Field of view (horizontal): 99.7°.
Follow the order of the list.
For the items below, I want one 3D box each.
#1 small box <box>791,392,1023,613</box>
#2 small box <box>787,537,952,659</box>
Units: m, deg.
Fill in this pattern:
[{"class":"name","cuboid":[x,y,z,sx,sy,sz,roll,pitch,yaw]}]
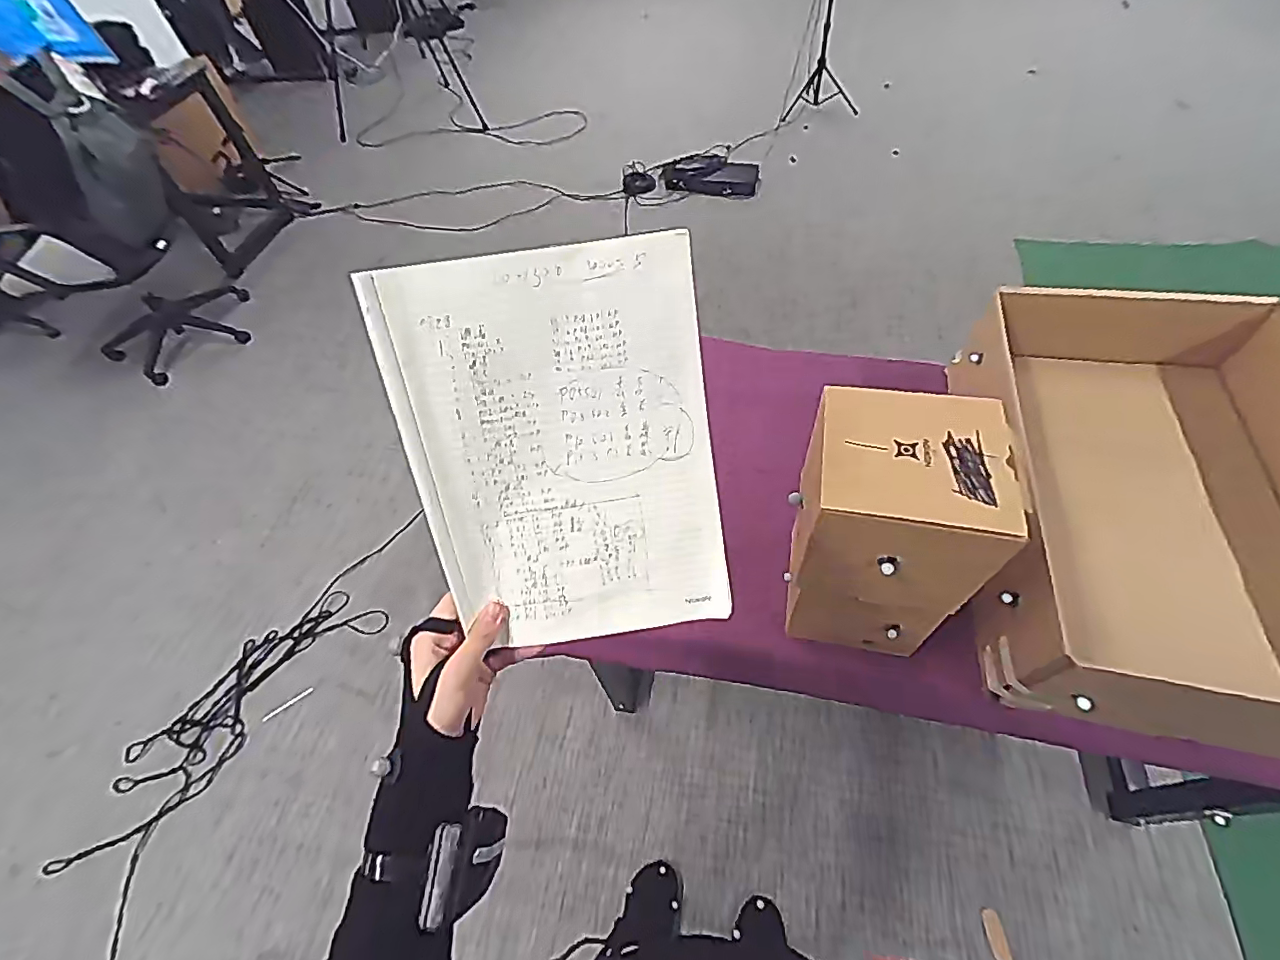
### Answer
[{"class":"small box","cuboid":[0.270,0.029,0.588,0.179,0.176,0.168,8,54,12]},{"class":"small box","cuboid":[0.294,0.120,0.723,0.168,0.176,0.179,8,54,11]}]
